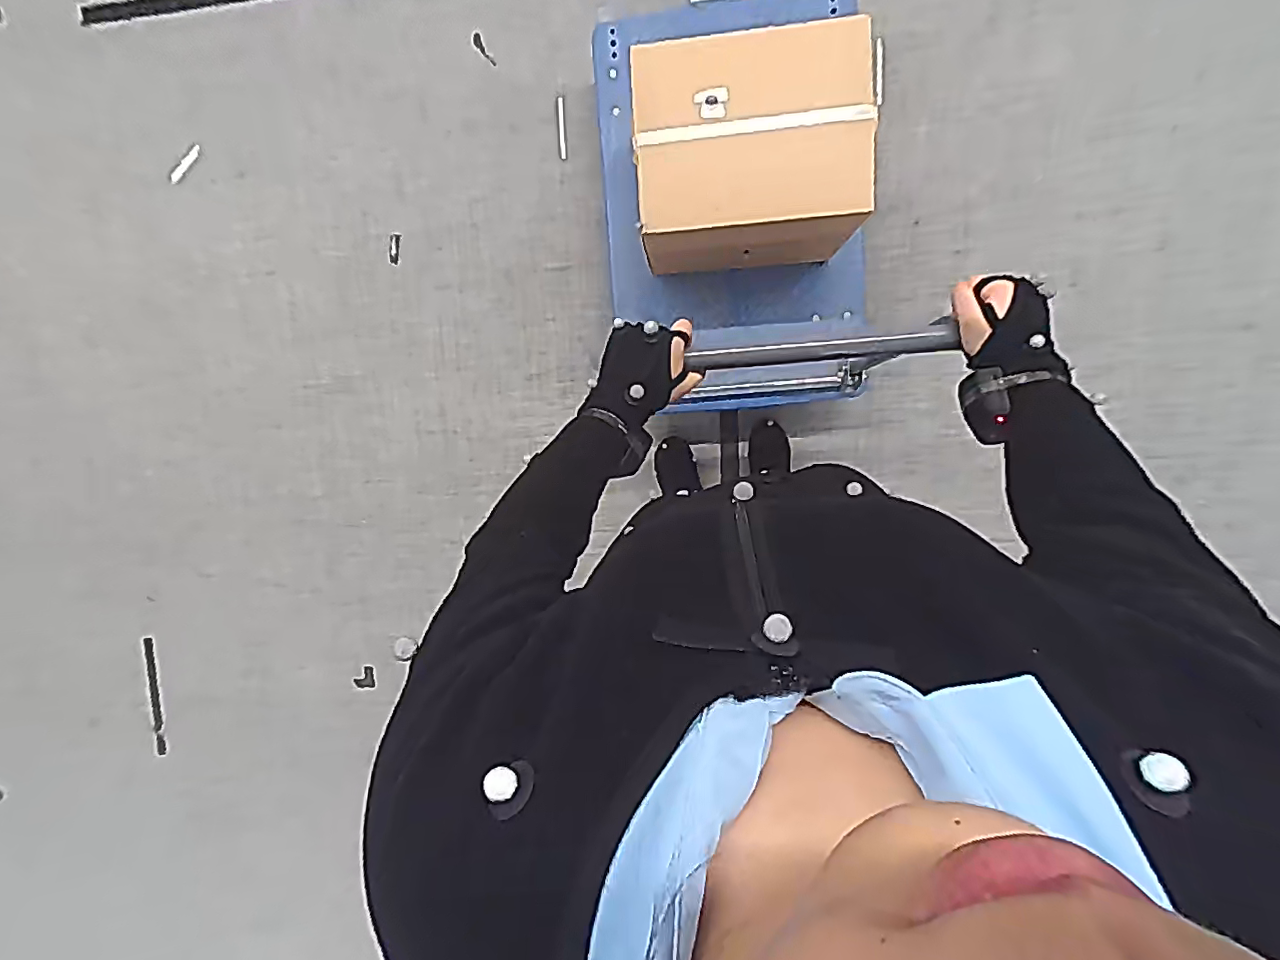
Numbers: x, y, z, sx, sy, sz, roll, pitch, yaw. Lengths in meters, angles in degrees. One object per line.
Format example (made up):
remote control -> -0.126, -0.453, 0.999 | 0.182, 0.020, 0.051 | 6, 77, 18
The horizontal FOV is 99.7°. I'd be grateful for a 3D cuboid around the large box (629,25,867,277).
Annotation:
large box -> 0.207, -0.624, 1.100 | 0.408, 0.320, 0.320 | -4, 95, 7
